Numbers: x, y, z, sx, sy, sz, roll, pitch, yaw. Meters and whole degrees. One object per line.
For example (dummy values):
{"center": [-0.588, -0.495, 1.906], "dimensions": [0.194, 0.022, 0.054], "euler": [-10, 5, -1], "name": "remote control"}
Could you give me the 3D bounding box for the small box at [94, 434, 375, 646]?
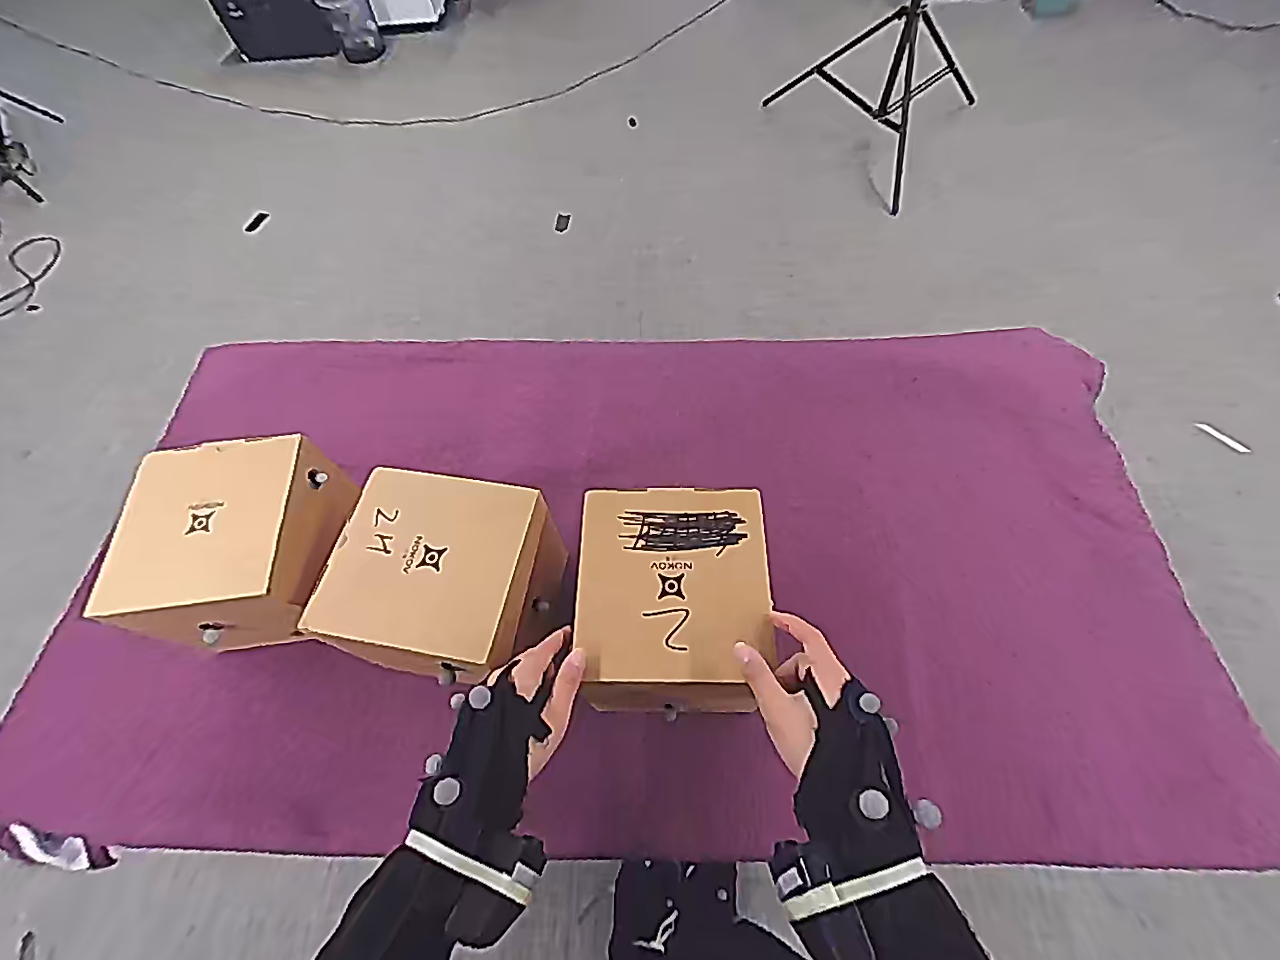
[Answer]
{"center": [-0.416, 0.076, 0.595], "dimensions": [0.168, 0.176, 0.179], "euler": [-8, 61, -1], "name": "small box"}
